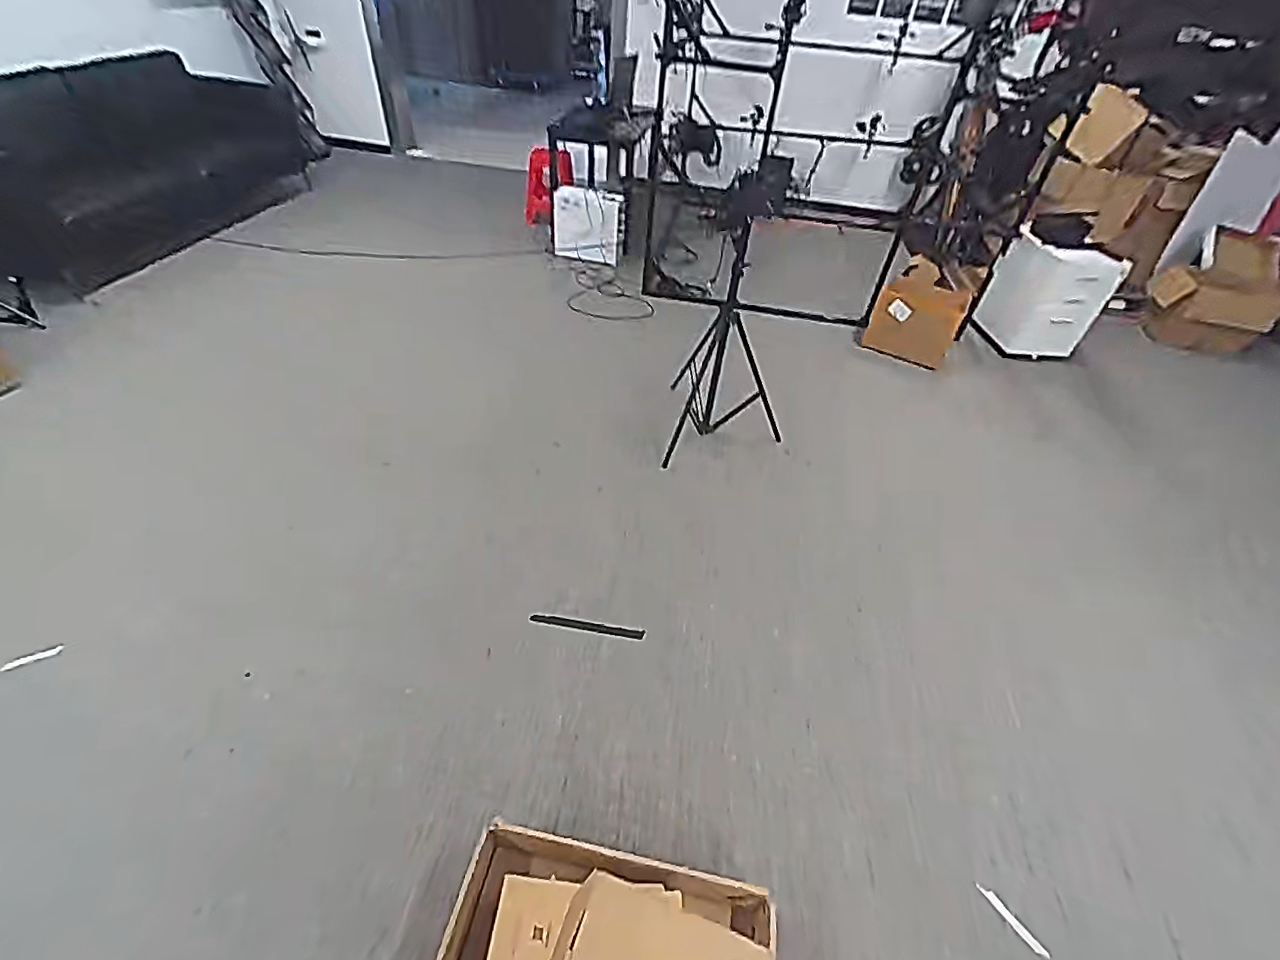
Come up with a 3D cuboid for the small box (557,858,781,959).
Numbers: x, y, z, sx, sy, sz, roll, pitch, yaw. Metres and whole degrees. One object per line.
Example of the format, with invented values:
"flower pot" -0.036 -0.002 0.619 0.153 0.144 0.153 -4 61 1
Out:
"small box" 0.003 0.479 0.479 0.179 0.176 0.168 21 44 5
